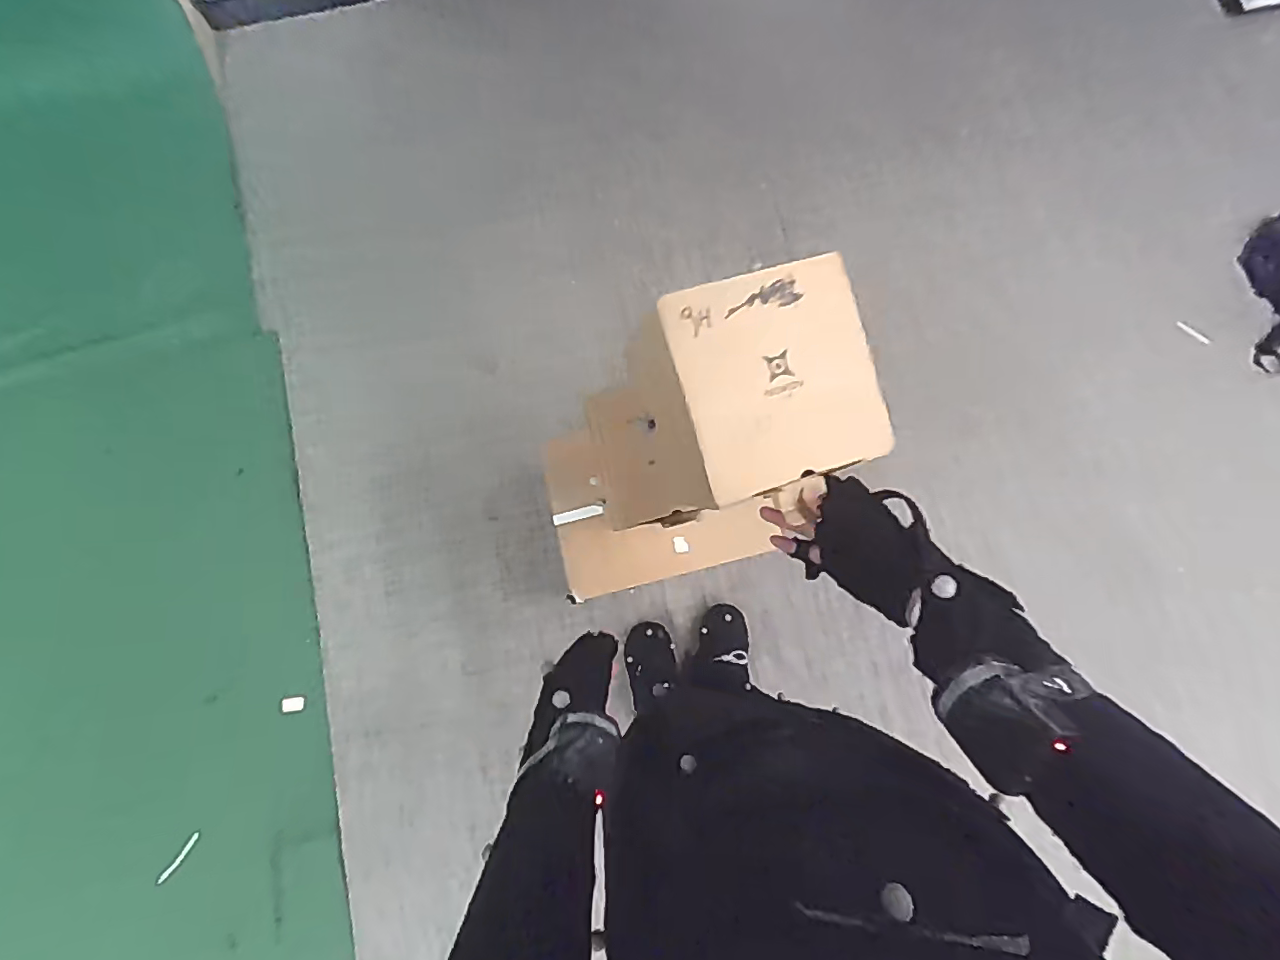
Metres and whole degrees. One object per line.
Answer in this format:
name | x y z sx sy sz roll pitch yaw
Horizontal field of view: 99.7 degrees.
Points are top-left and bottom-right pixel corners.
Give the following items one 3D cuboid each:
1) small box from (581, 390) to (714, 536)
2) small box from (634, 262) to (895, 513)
small box | 0.021 -0.026 0.764 0.168 0.176 0.179 -15 85 -5
small box | 0.104 -0.079 0.520 0.168 0.176 0.179 -17 94 -11
